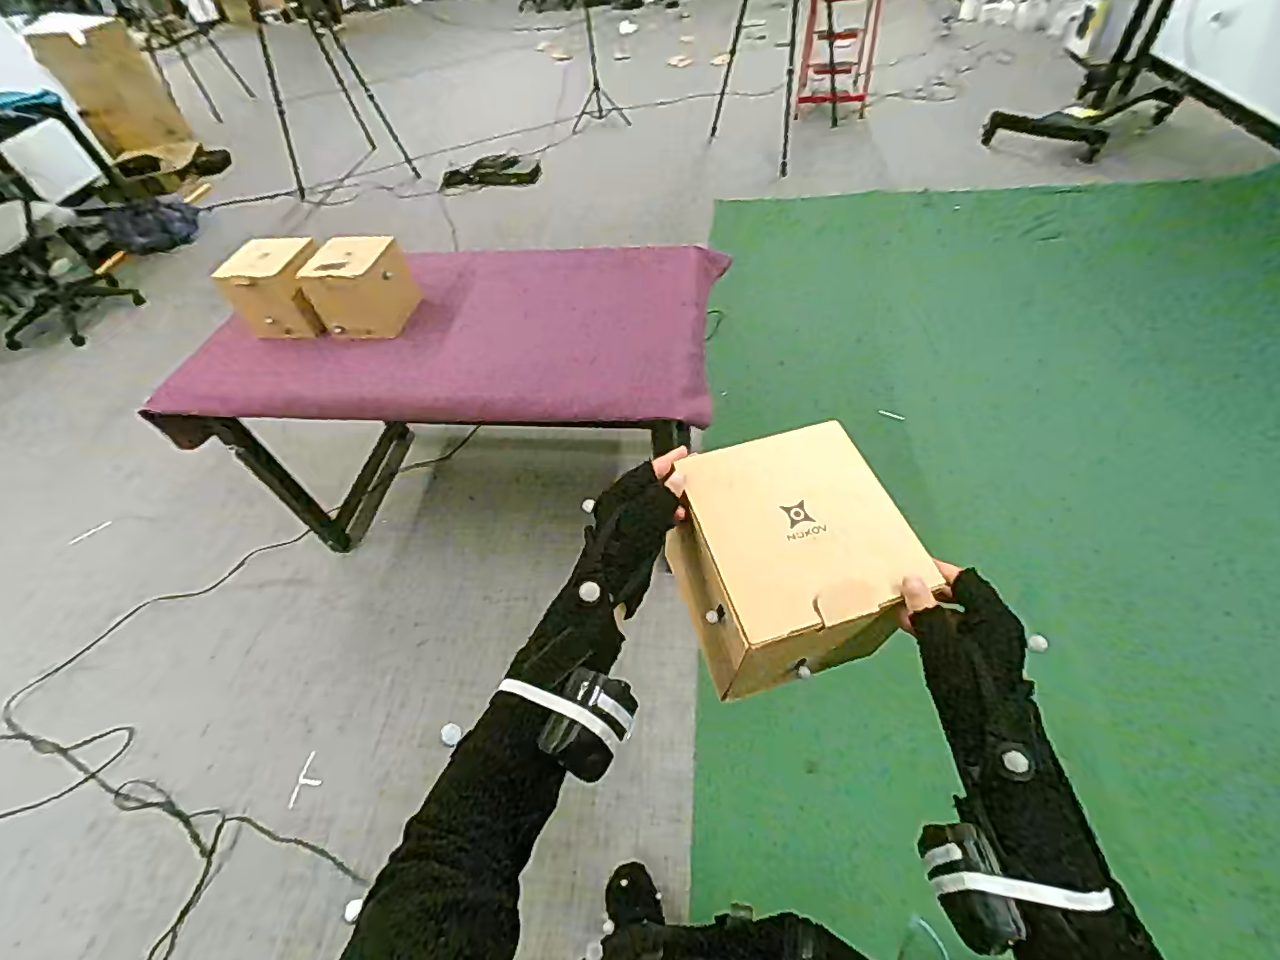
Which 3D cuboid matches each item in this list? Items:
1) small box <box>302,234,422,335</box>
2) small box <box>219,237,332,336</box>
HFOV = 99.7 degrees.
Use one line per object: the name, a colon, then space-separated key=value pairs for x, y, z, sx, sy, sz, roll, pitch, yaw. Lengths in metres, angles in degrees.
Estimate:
small box: x=-0.654 y=-0.466 z=1.302 sx=0.168 sy=0.176 sz=0.179 roll=3 pitch=51 yaw=9
small box: x=-0.865 y=-0.477 z=1.335 sx=0.168 sy=0.176 sz=0.179 roll=2 pitch=52 yaw=9
